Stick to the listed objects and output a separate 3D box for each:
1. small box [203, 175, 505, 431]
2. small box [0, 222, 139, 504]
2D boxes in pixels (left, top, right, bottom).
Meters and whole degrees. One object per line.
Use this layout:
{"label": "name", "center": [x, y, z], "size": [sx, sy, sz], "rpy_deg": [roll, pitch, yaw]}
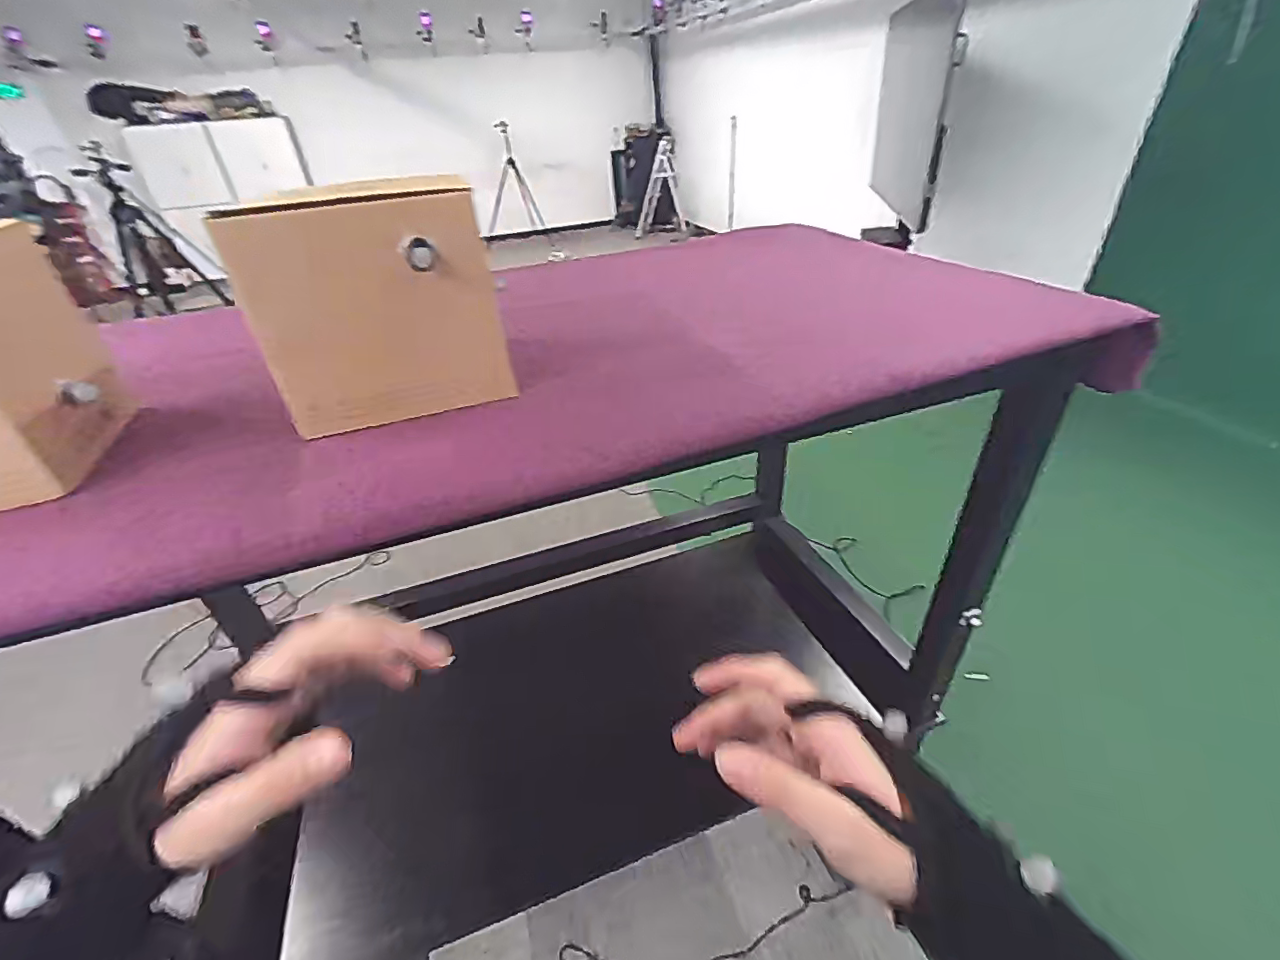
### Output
{"label": "small box", "center": [-0.225, -0.163, 0.480], "size": [0.179, 0.176, 0.168], "rpy_deg": [-14, 34, -13]}
{"label": "small box", "center": [-0.532, -0.076, 0.389], "size": [0.179, 0.176, 0.168], "rpy_deg": [-15, 36, -17]}
